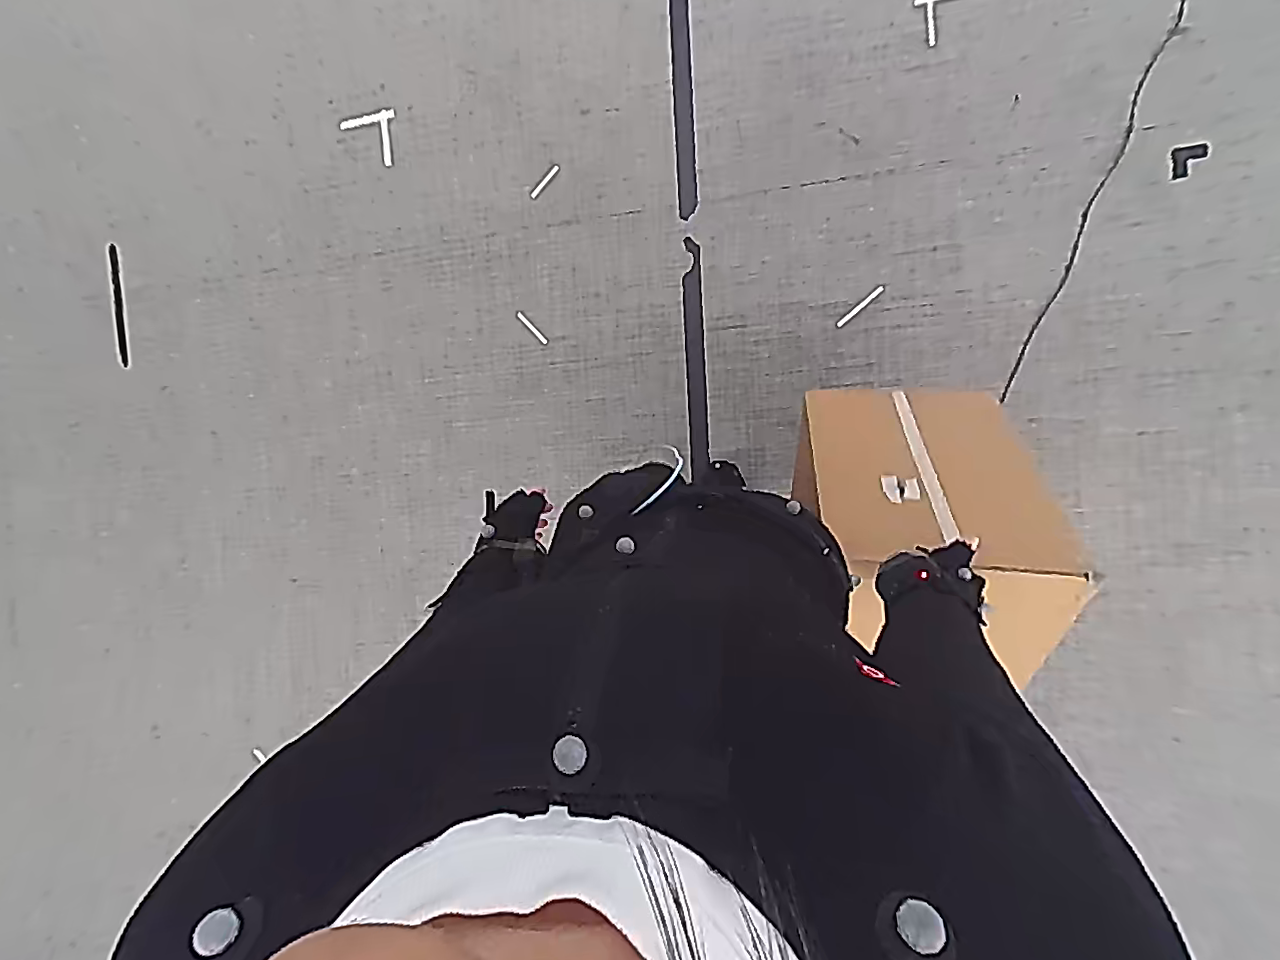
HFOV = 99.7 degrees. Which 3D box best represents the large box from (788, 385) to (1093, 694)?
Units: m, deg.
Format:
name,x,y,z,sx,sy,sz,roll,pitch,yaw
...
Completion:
name,x,y,z,sx,sy,sz,roll,pitch,yaw
large box,0.425,0.082,0.899,0.320,0.408,0.320,1,133,12
